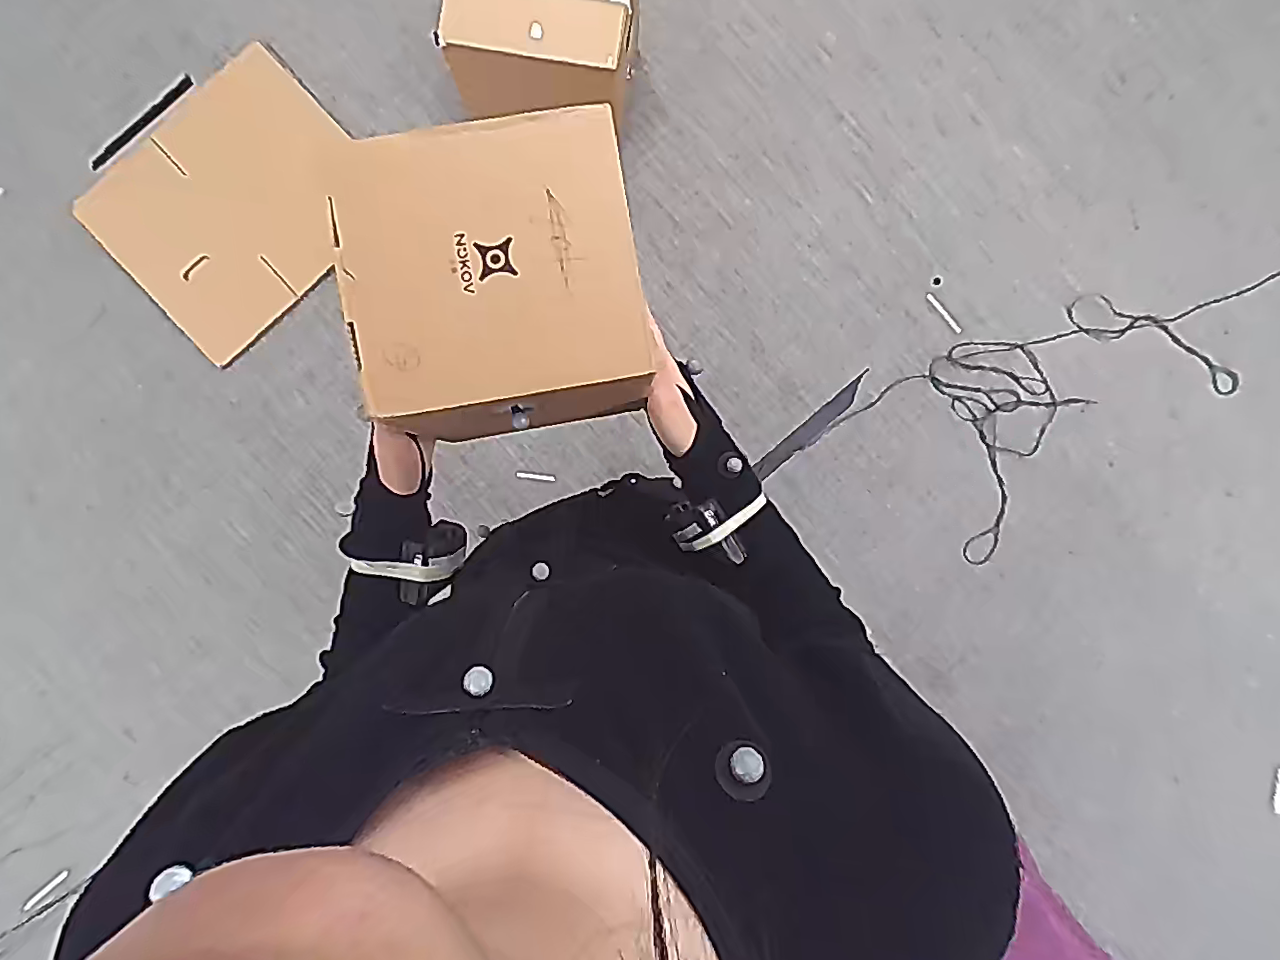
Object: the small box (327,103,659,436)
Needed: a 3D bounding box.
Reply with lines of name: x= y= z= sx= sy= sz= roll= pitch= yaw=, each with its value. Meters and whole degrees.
small box: x=-0.089 y=-0.130 z=0.400 sx=0.179 sy=0.176 sz=0.168 roll=-11 pitch=91 yaw=-3
